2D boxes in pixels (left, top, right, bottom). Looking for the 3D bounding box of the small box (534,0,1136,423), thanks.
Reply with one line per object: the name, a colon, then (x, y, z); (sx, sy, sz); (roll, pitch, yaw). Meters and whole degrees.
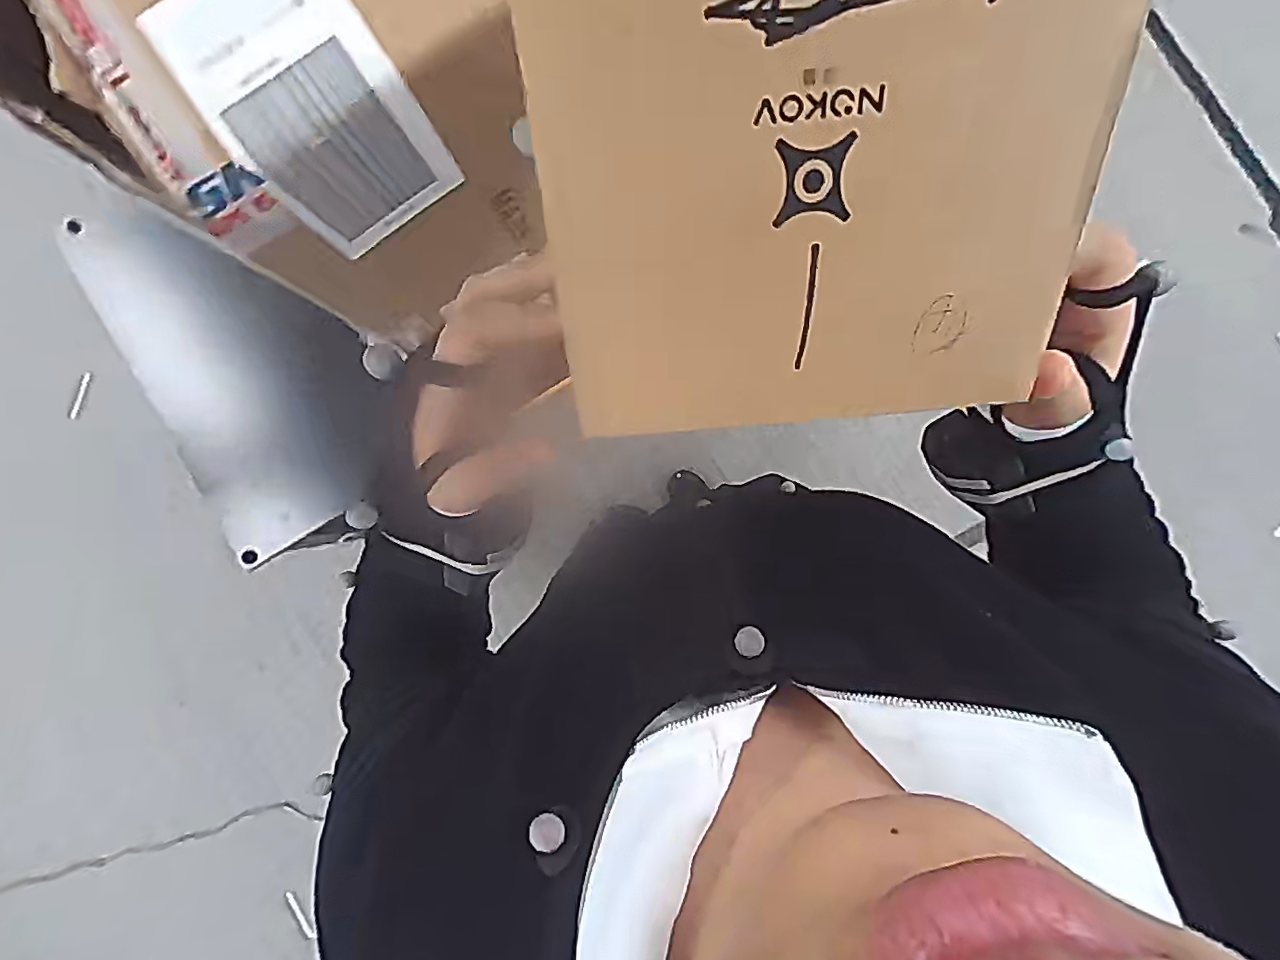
small box: (0.053, -0.141, 0.231); (0.168, 0.176, 0.179); (-4, 120, 2)
